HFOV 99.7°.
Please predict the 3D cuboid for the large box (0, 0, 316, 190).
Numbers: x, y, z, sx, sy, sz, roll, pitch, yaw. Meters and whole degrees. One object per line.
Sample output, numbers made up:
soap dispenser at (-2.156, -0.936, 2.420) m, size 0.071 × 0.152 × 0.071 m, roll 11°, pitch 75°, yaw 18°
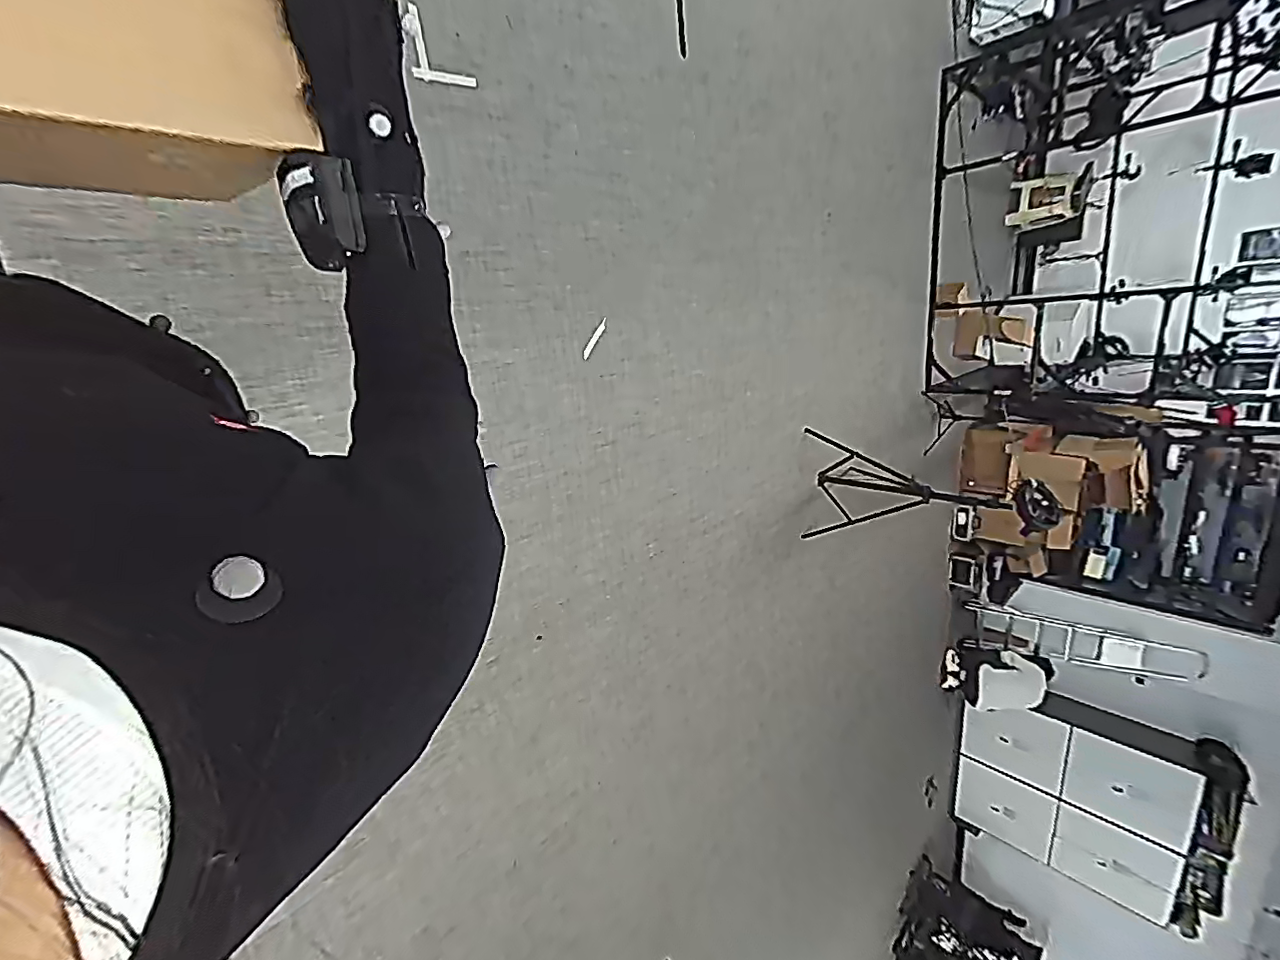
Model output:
large box at (-0.467, -0.355, 0.280) m, size 0.408 × 0.320 × 0.320 m, roll -20°, pitch 119°, yaw -43°
